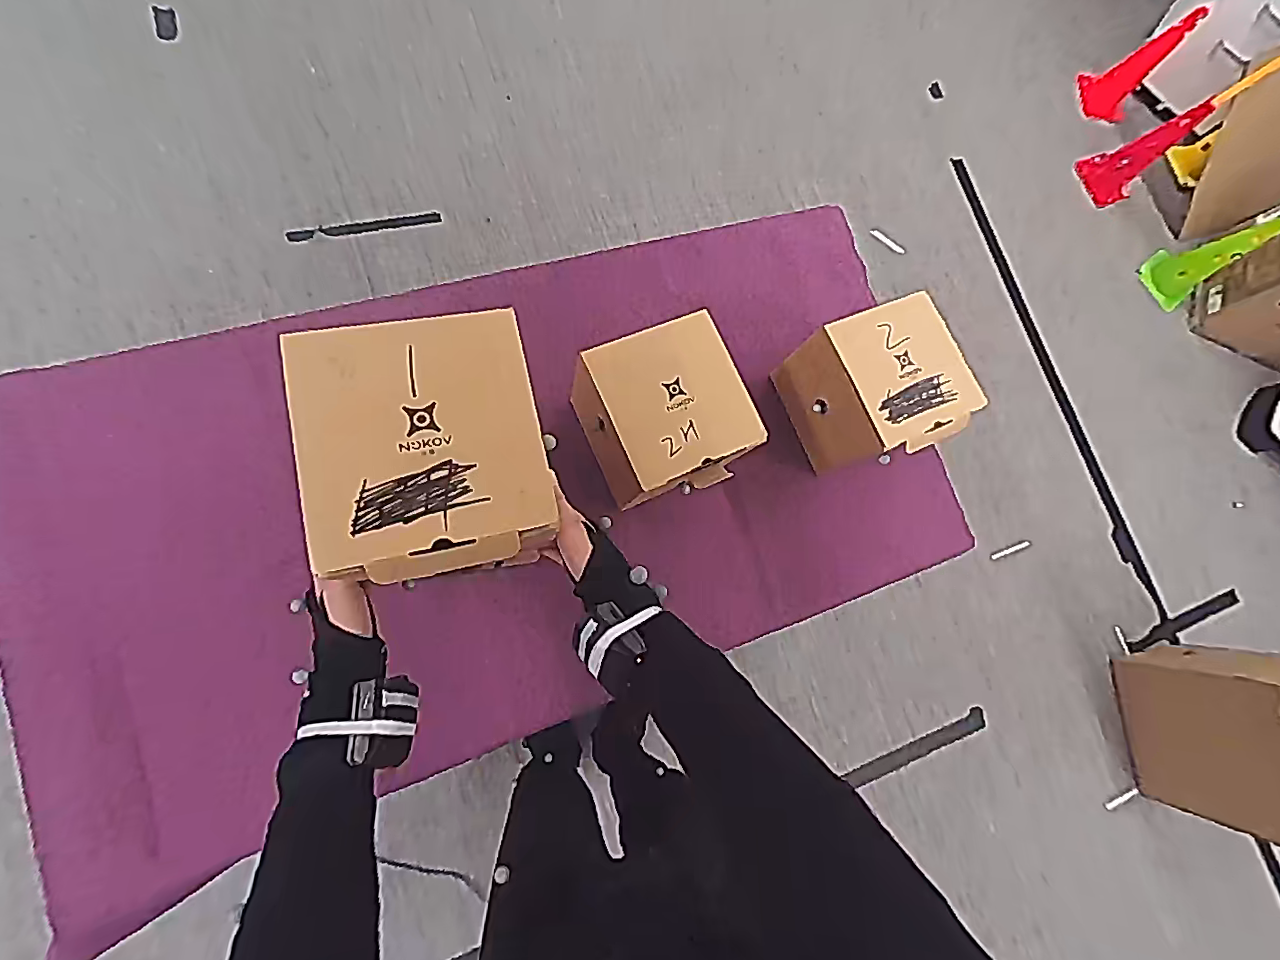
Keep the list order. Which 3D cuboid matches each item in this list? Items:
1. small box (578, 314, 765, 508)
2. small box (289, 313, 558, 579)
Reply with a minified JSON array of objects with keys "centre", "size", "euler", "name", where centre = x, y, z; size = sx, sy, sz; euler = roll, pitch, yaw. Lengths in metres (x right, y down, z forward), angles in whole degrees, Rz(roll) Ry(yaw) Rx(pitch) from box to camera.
[{"centre":[0.027,-0.079,0.700],"size":[0.168,0.176,0.179],"euler":[-22,85,-13],"name":"small box"},{"centre":[-0.169,-0.017,0.465],"size":[0.168,0.176,0.179],"euler":[-11,80,-14],"name":"small box"}]
